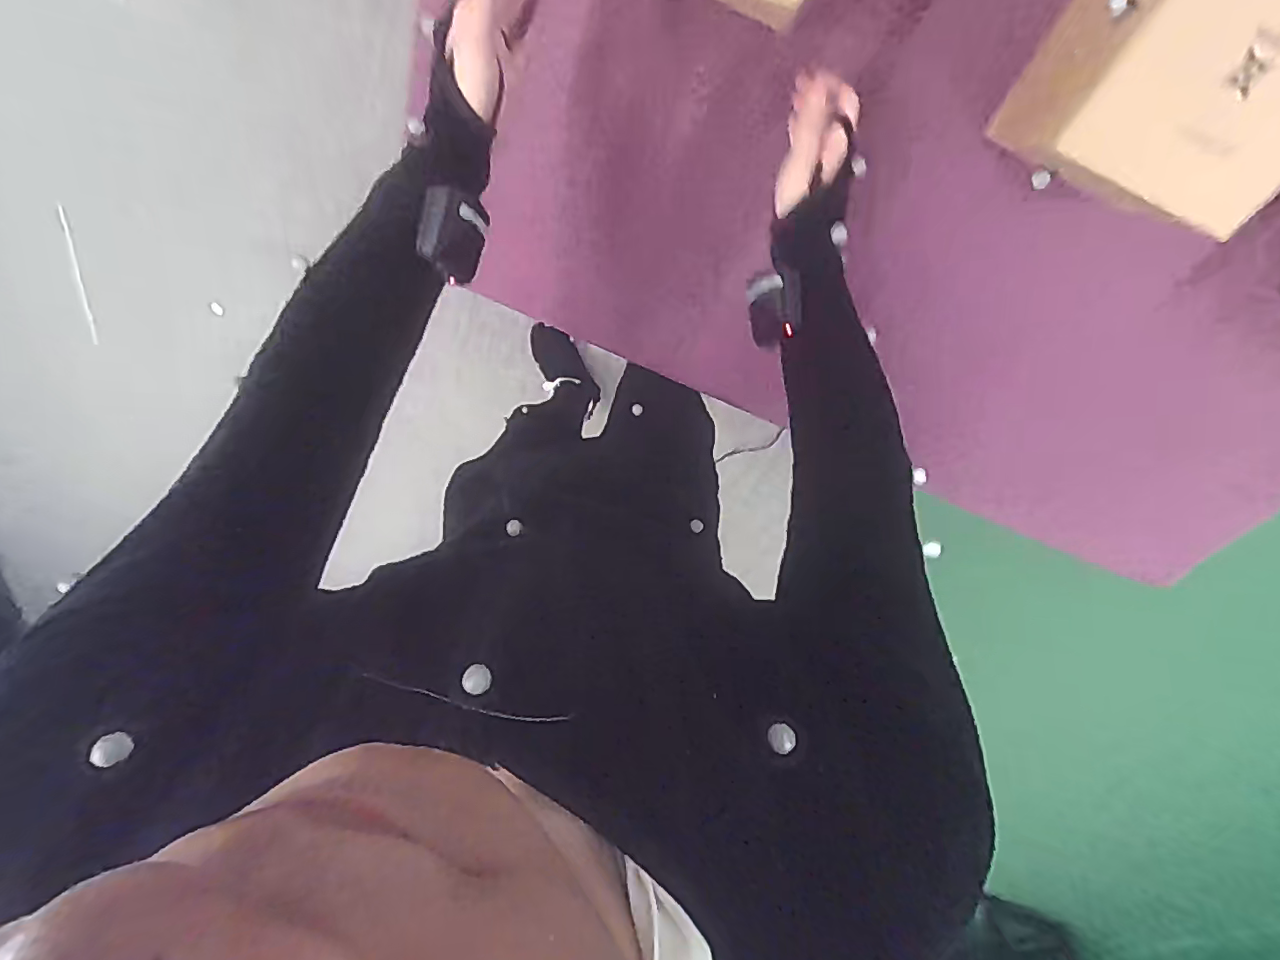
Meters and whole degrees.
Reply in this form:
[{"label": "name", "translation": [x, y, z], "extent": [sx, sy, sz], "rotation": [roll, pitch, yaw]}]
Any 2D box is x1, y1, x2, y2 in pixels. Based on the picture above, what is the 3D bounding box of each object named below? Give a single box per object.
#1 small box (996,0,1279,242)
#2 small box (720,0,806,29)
[{"label": "small box", "translation": [0.437, -0.328, 0.436], "extent": [0.168, 0.176, 0.179], "rotation": [24, 126, -5]}, {"label": "small box", "translation": [0.085, -0.478, 0.403], "extent": [0.168, 0.176, 0.179], "rotation": [23, 126, -4]}]
